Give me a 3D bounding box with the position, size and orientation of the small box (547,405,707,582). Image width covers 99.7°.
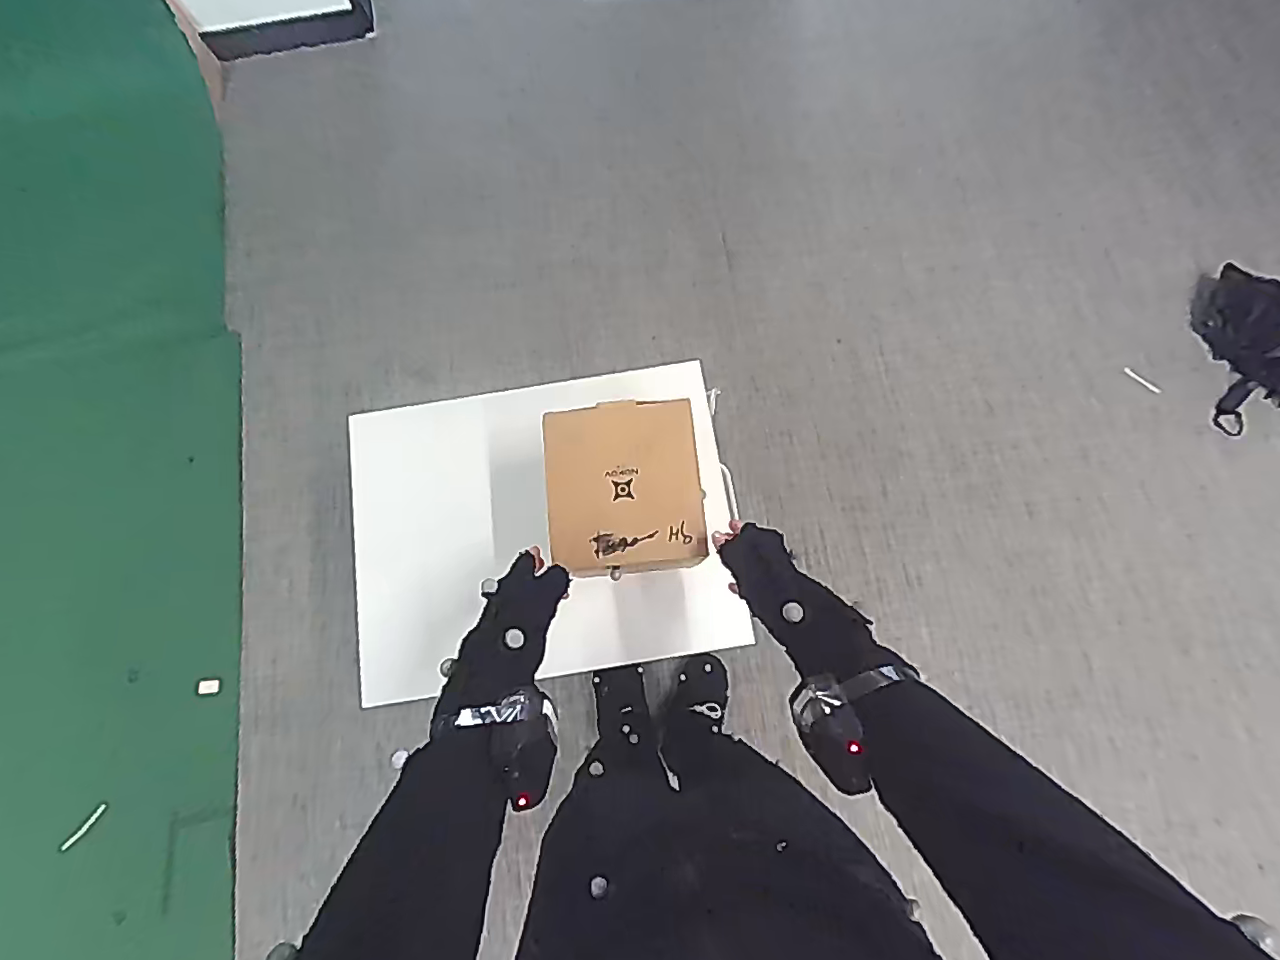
[{"bbox_3d":[-0.015,0.026,0.661,0.168,0.176,0.179,-6,77,1],"label":"small box"}]
